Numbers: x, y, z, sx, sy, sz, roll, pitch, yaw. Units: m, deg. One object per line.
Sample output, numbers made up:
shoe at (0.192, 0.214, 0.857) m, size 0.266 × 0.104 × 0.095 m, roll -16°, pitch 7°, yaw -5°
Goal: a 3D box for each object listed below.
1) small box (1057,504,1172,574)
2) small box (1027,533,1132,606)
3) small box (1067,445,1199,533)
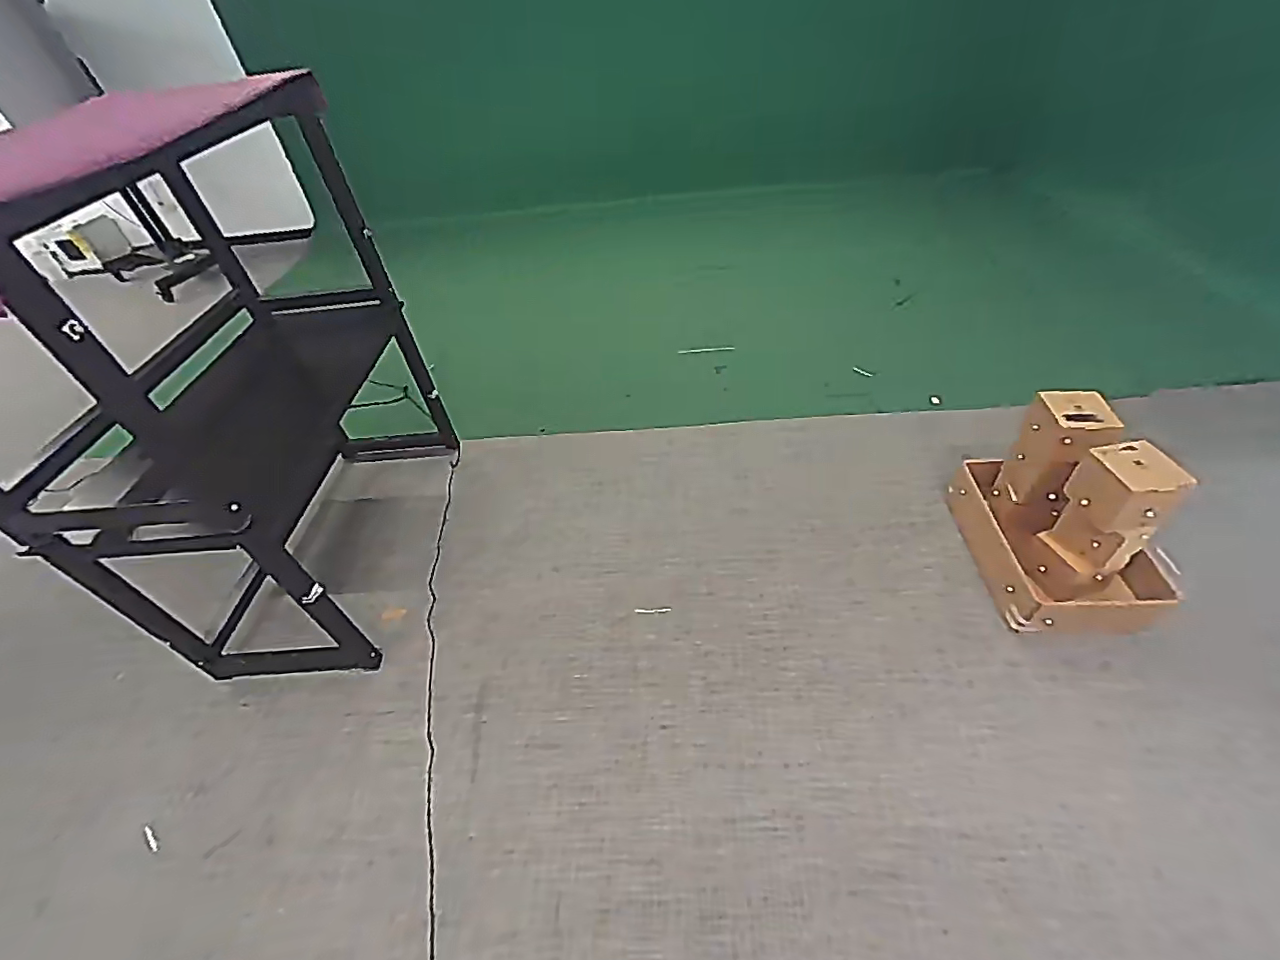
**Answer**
small box at (1.379, 0.147, 1.590) m, size 0.179 × 0.176 × 0.168 m, roll -21°, pitch 45°, yaw -14°
small box at (1.365, 0.272, 1.699) m, size 0.179 × 0.176 × 0.168 m, roll -13°, pitch 43°, yaw -6°
small box at (1.336, 0.031, 1.481) m, size 0.168 × 0.176 × 0.179 m, roll -8°, pitch 44°, yaw 0°
